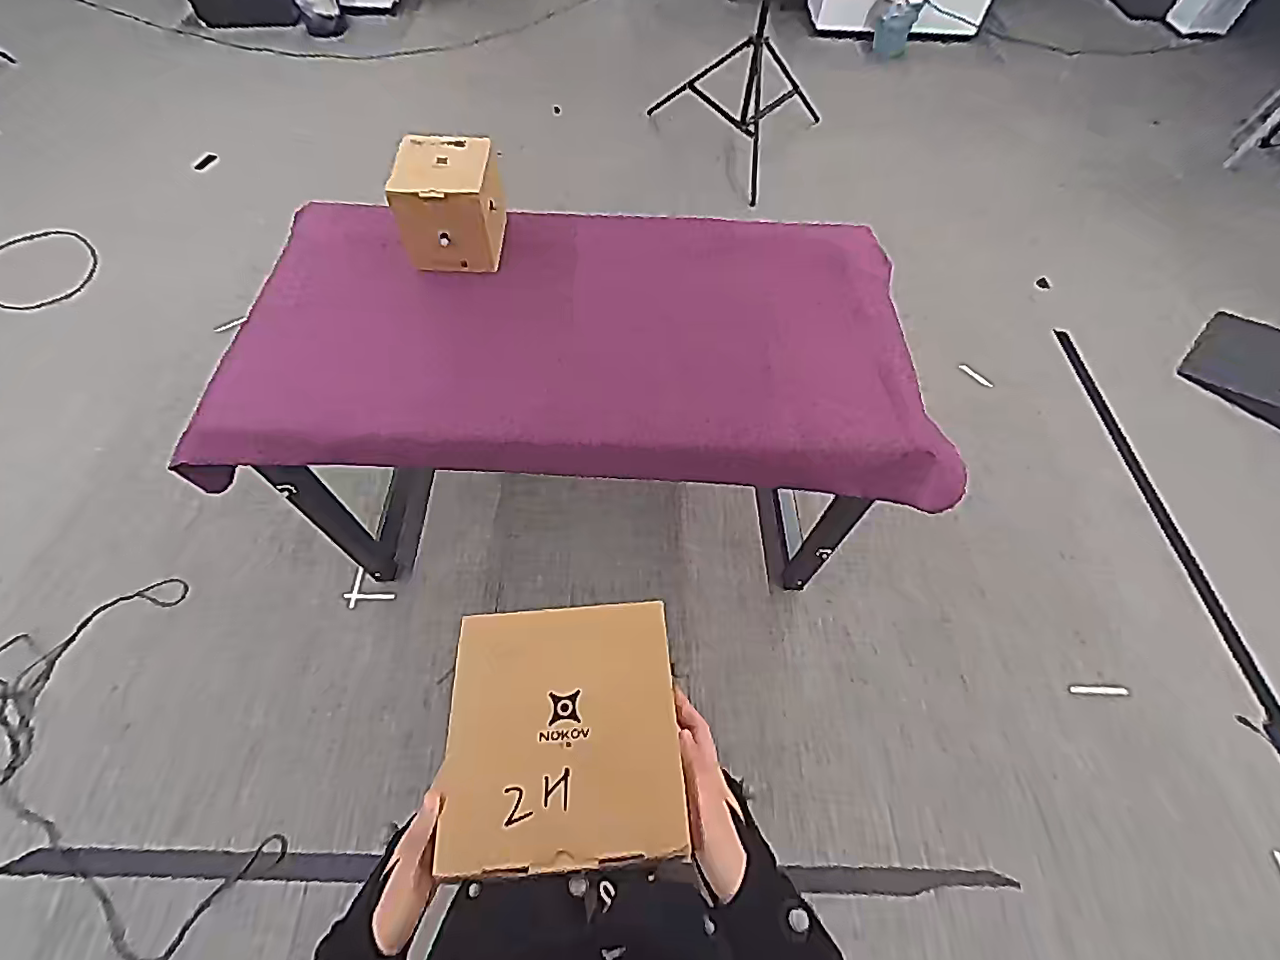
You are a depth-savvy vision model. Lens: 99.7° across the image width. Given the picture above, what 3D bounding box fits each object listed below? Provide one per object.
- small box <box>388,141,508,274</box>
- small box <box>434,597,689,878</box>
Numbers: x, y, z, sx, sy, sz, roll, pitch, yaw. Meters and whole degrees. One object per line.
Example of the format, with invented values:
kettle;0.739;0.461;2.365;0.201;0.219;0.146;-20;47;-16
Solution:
small box;-0.359;-0.522;1.049;0.168;0.176;0.179;1;61;-2
small box;-0.055;0.219;0.457;0.168;0.176;0.179;-4;52;-2
